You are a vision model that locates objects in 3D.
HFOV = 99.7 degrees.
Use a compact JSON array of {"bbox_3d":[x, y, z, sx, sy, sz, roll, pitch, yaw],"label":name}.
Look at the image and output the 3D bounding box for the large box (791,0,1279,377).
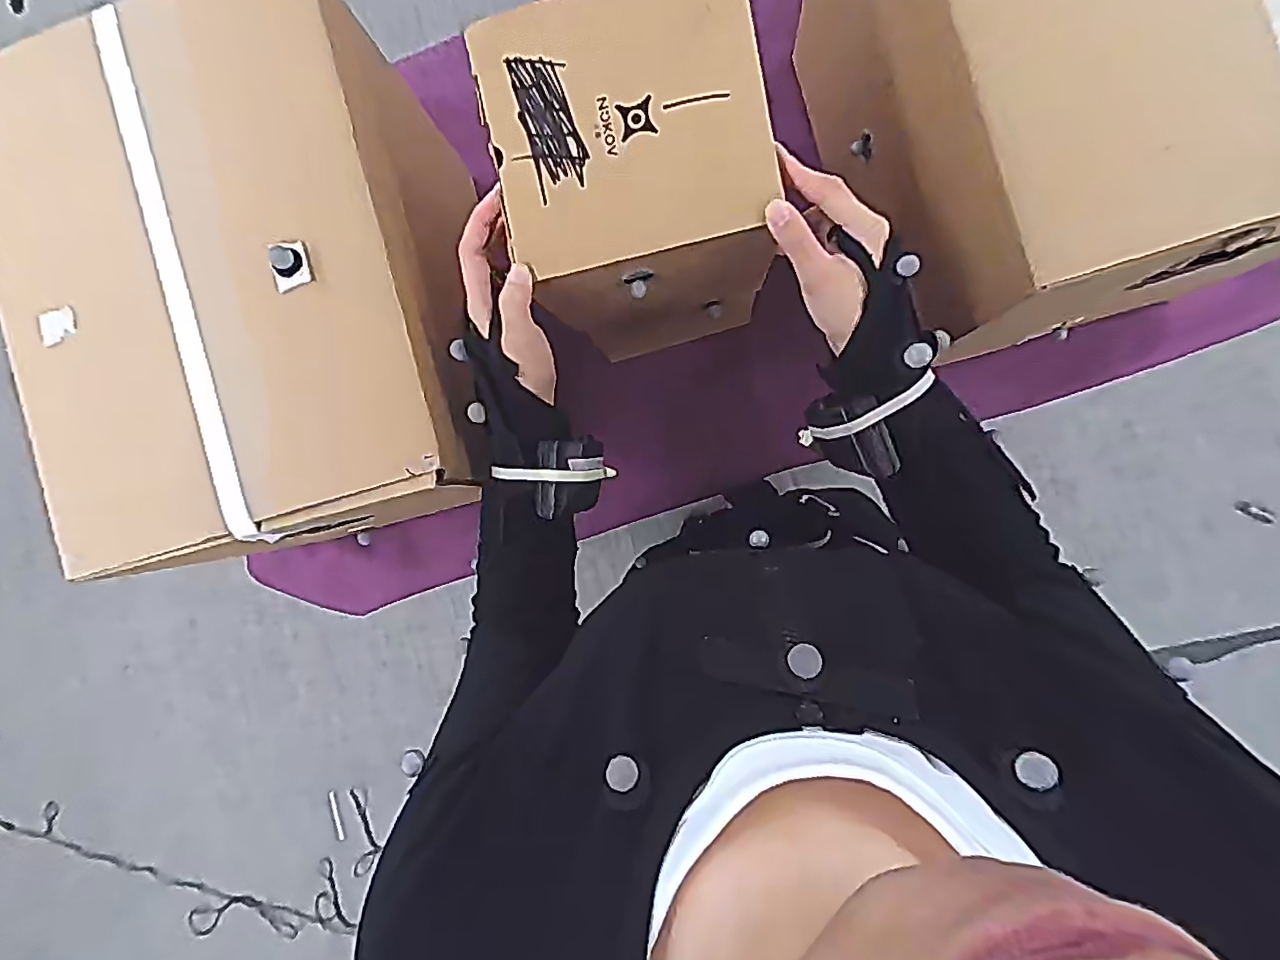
[{"bbox_3d":[0.350,-0.347,0.458,0.320,0.320,0.408,-16,87,7],"label":"large box"}]
